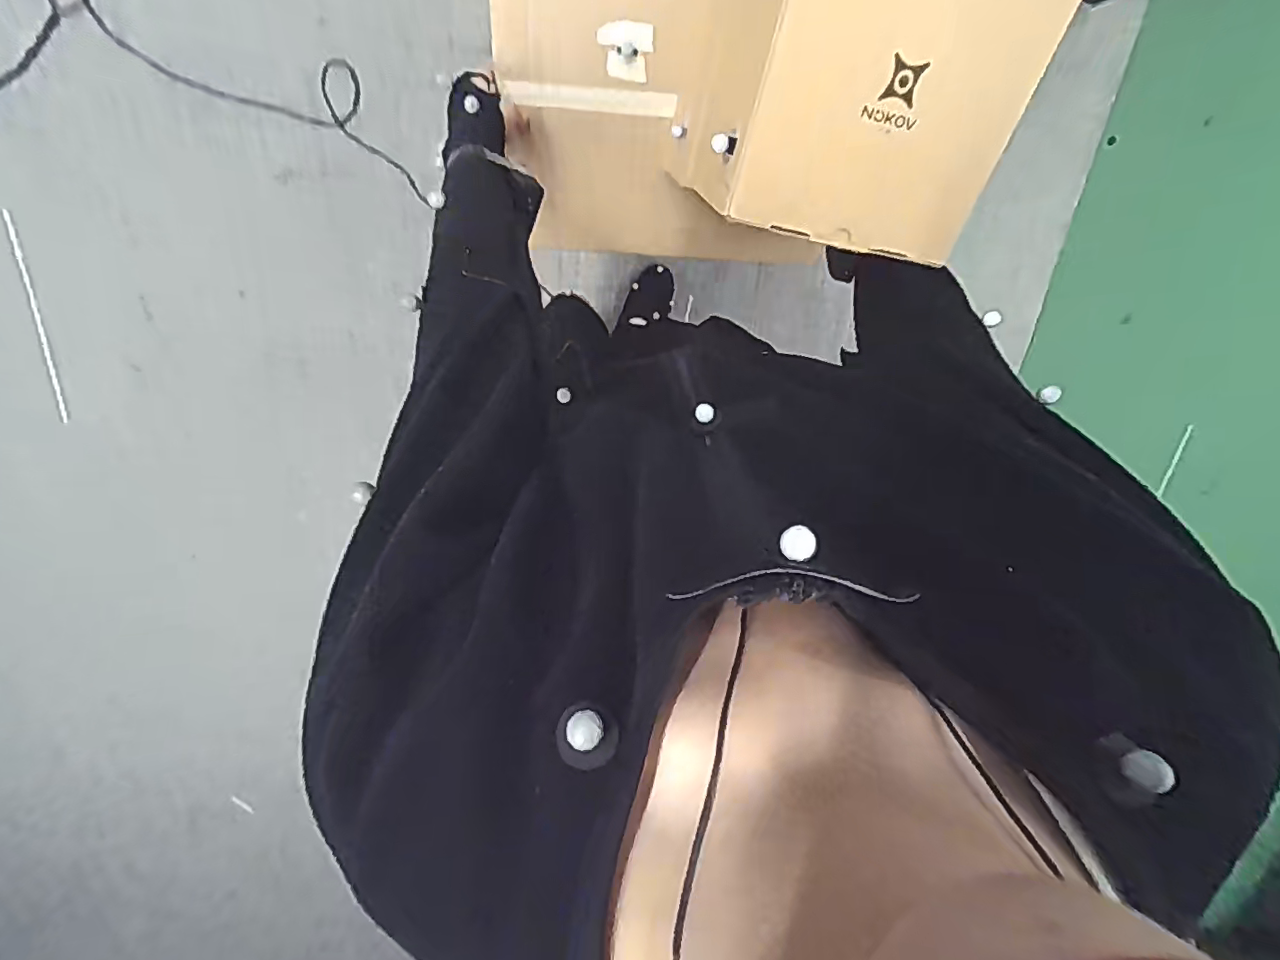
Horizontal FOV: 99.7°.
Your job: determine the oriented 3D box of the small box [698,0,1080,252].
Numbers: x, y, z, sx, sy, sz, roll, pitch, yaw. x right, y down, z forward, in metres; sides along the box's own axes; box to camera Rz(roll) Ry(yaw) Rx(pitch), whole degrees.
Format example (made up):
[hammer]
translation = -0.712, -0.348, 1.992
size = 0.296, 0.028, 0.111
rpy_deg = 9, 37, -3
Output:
[small box]
translation = 0.147, -0.285, 0.377
size = 0.168, 0.176, 0.179
rpy_deg = 7, 126, -10
